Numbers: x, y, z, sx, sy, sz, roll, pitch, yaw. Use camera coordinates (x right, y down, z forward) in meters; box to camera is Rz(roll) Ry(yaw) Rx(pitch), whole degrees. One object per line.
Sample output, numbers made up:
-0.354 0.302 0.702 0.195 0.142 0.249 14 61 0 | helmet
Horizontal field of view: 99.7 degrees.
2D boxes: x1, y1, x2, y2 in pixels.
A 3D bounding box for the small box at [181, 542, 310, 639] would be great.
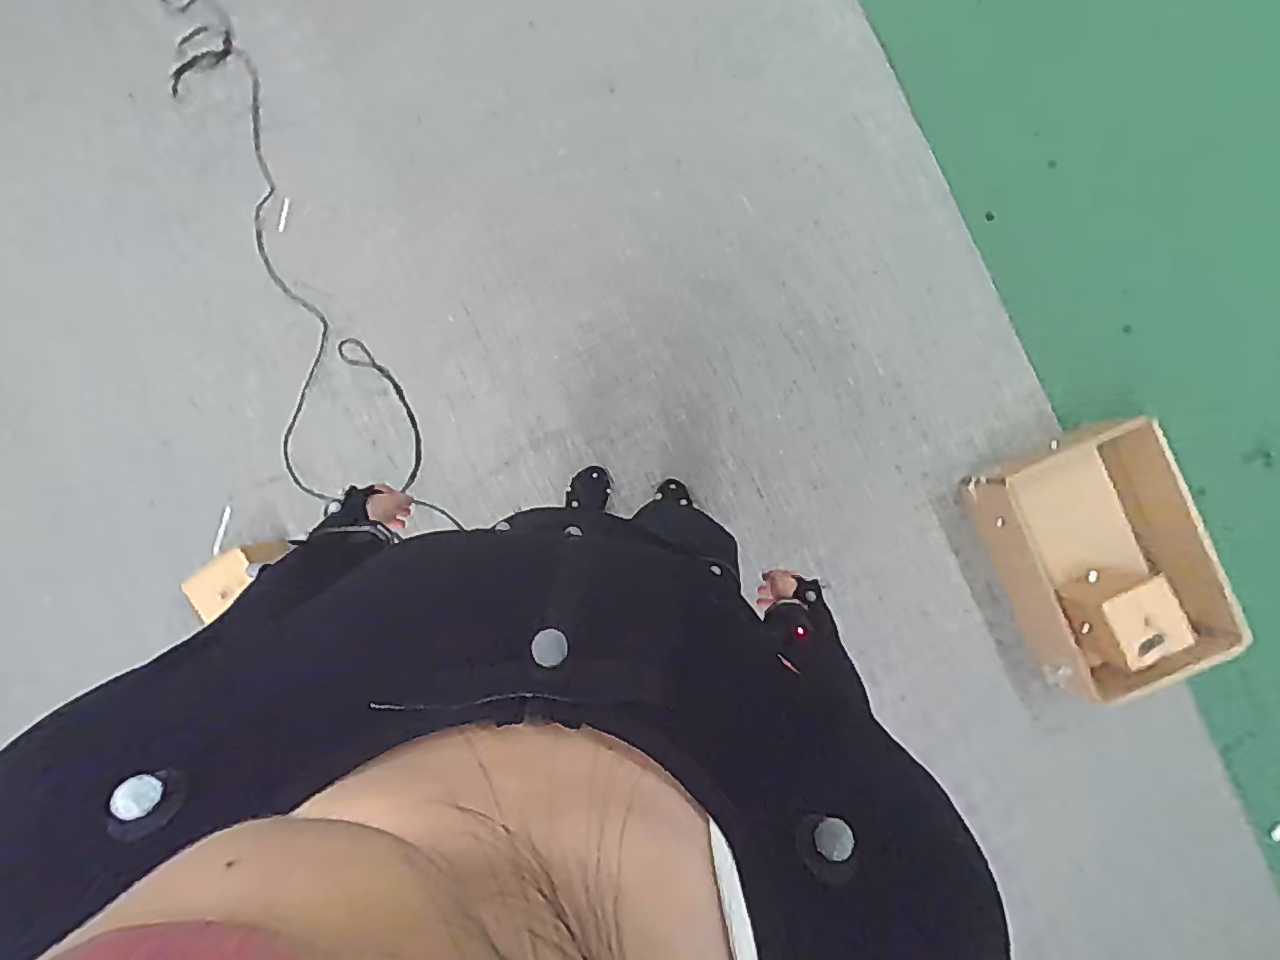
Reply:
-1.015 0.280 1.407 0.179 0.176 0.168 -35 91 0 | small box
